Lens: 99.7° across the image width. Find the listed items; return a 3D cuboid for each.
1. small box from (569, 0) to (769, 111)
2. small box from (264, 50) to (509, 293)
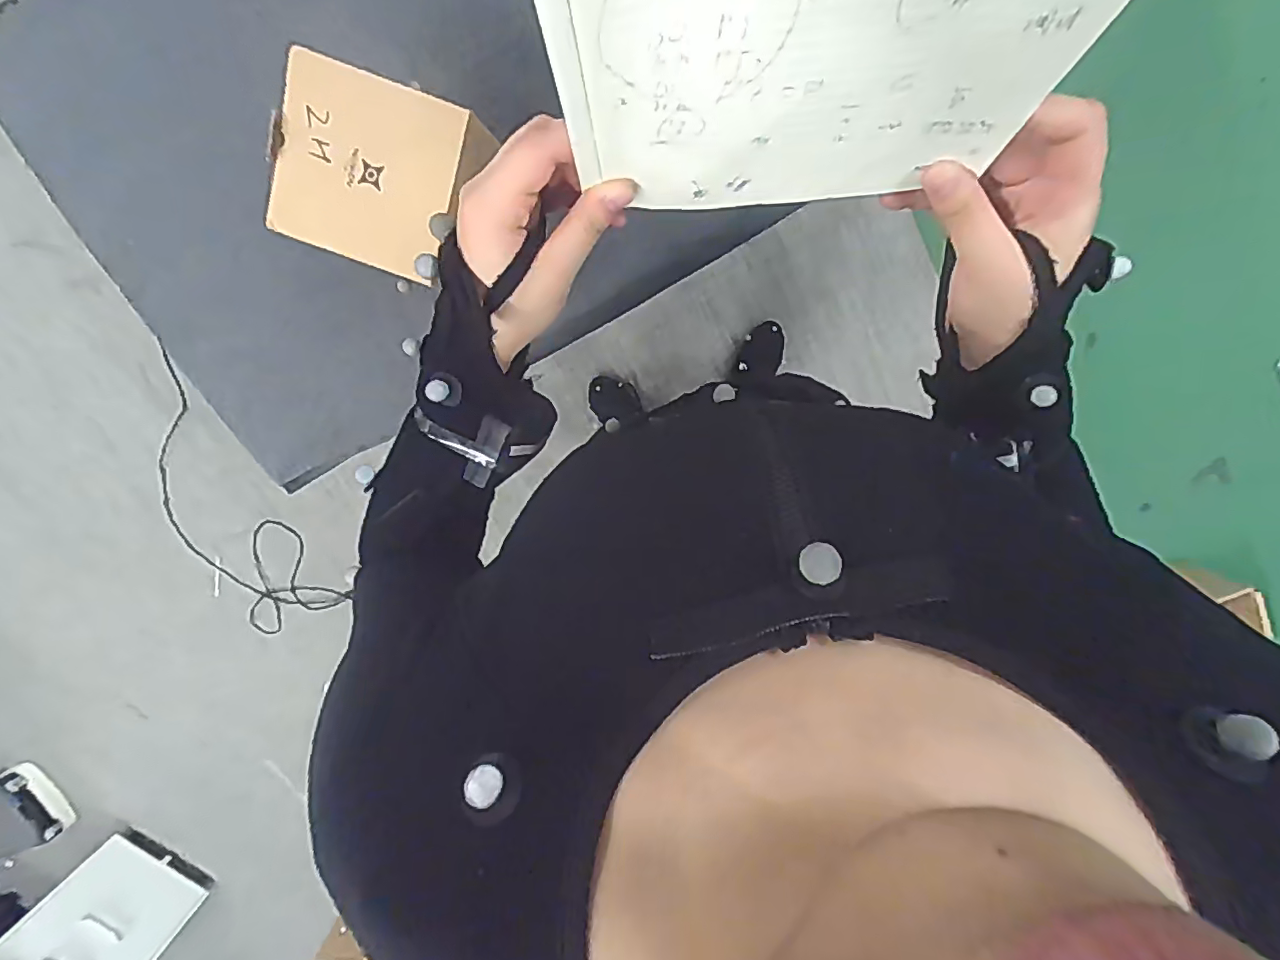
[{"bbox_3d":[0.029,-0.488,0.531,0.179,0.176,0.168,0,105,4],"label":"small box"},{"bbox_3d":[-0.262,-0.314,0.595,0.179,0.176,0.168,19,105,-2],"label":"small box"}]
